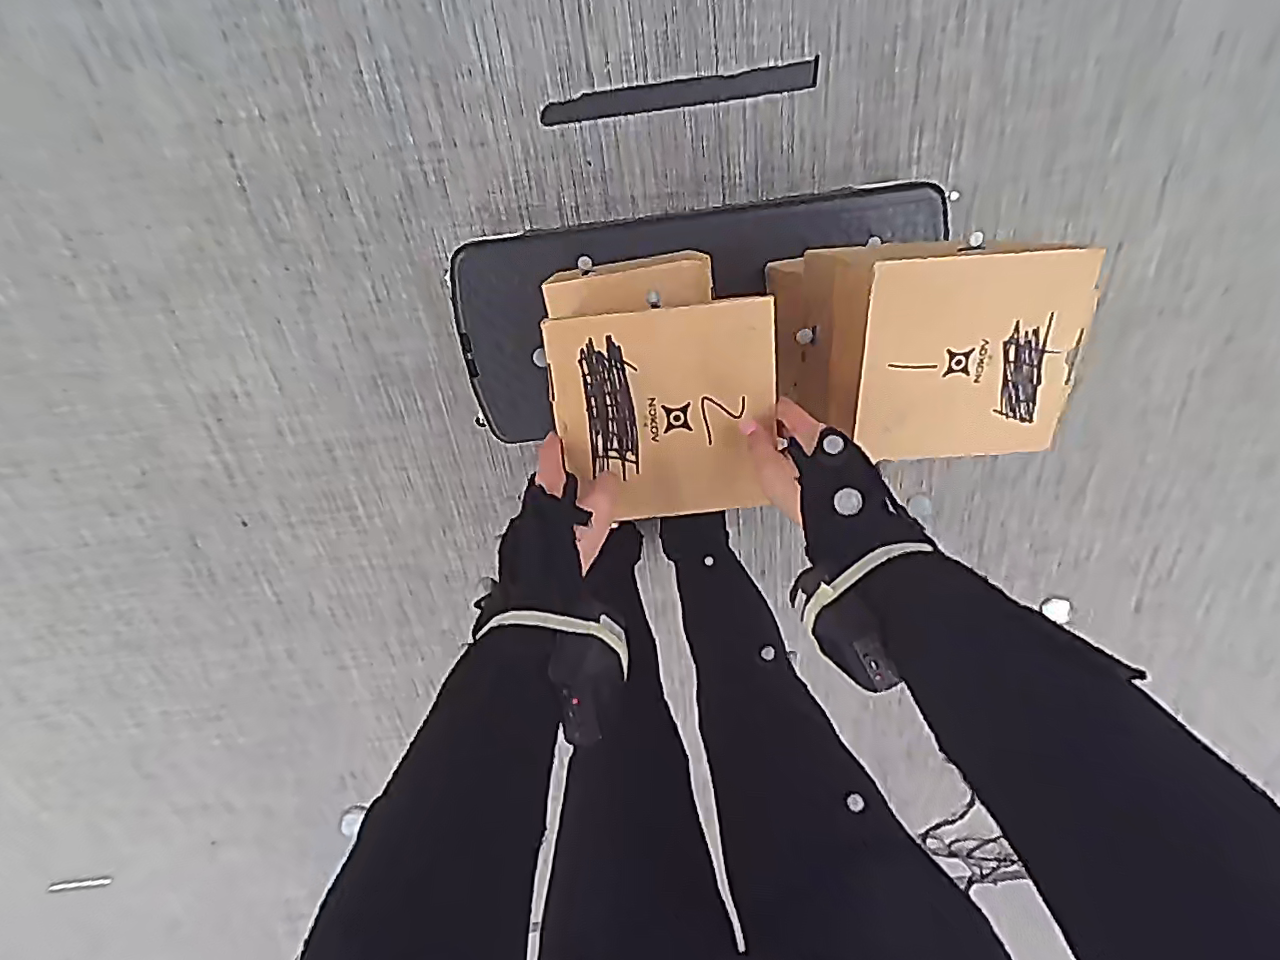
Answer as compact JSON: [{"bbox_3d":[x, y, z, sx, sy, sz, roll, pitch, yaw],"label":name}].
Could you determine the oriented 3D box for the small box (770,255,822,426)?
[{"bbox_3d":[0.262,-0.185,0.662,0.168,0.176,0.179,-9,115,1],"label":"small box"}]

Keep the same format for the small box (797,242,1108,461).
[{"bbox_3d":[0.263,-0.129,0.507,0.179,0.176,0.168,-3,115,0],"label":"small box"}]
